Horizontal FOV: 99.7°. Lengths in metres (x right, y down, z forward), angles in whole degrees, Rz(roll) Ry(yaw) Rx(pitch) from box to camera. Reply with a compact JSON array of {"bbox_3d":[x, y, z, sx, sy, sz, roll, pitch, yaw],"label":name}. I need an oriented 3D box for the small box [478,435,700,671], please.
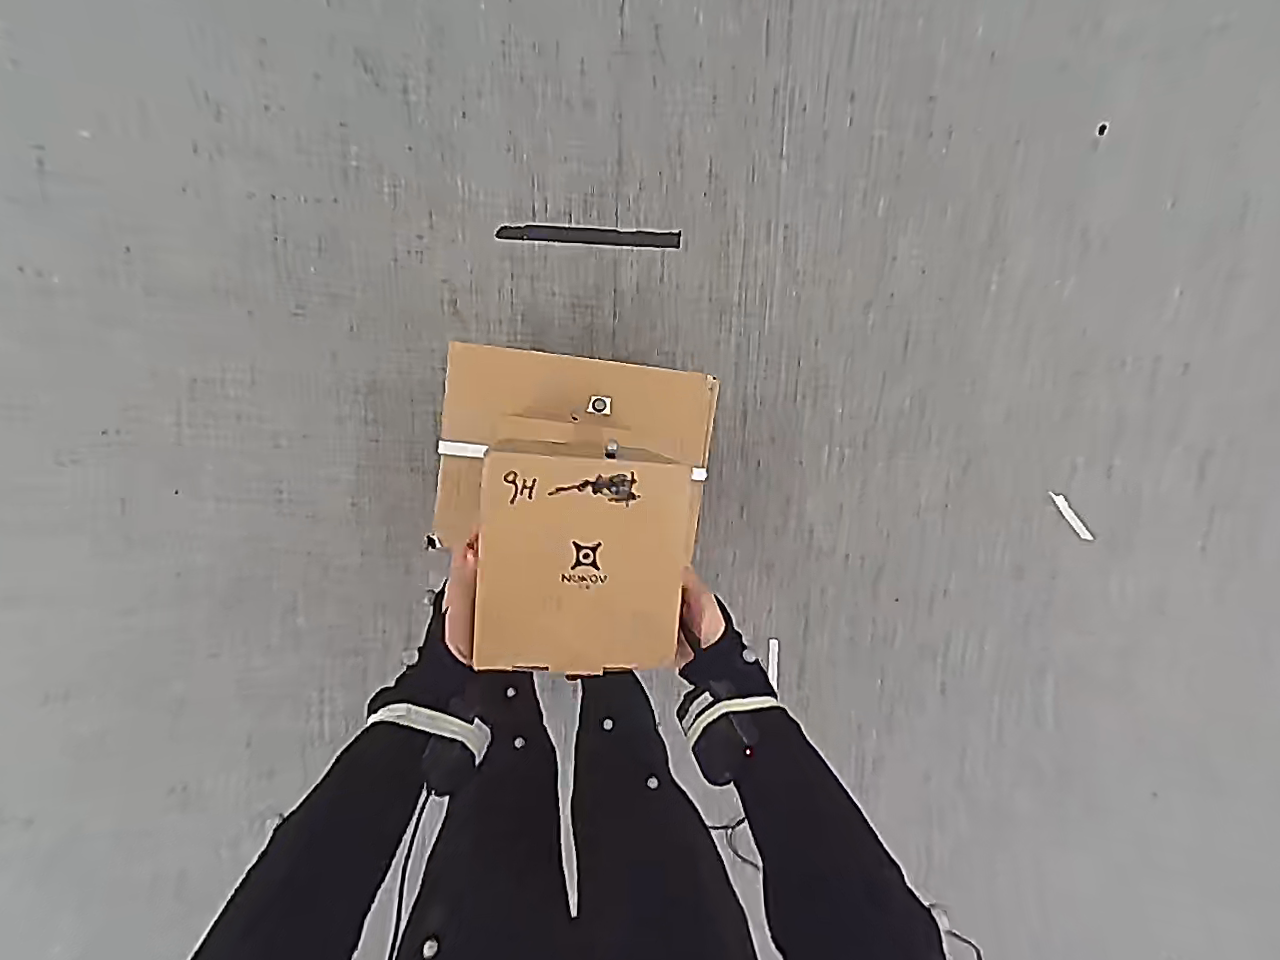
[{"bbox_3d":[-0.056,0.057,0.508,0.168,0.176,0.179,4,98,-14],"label":"small box"}]
